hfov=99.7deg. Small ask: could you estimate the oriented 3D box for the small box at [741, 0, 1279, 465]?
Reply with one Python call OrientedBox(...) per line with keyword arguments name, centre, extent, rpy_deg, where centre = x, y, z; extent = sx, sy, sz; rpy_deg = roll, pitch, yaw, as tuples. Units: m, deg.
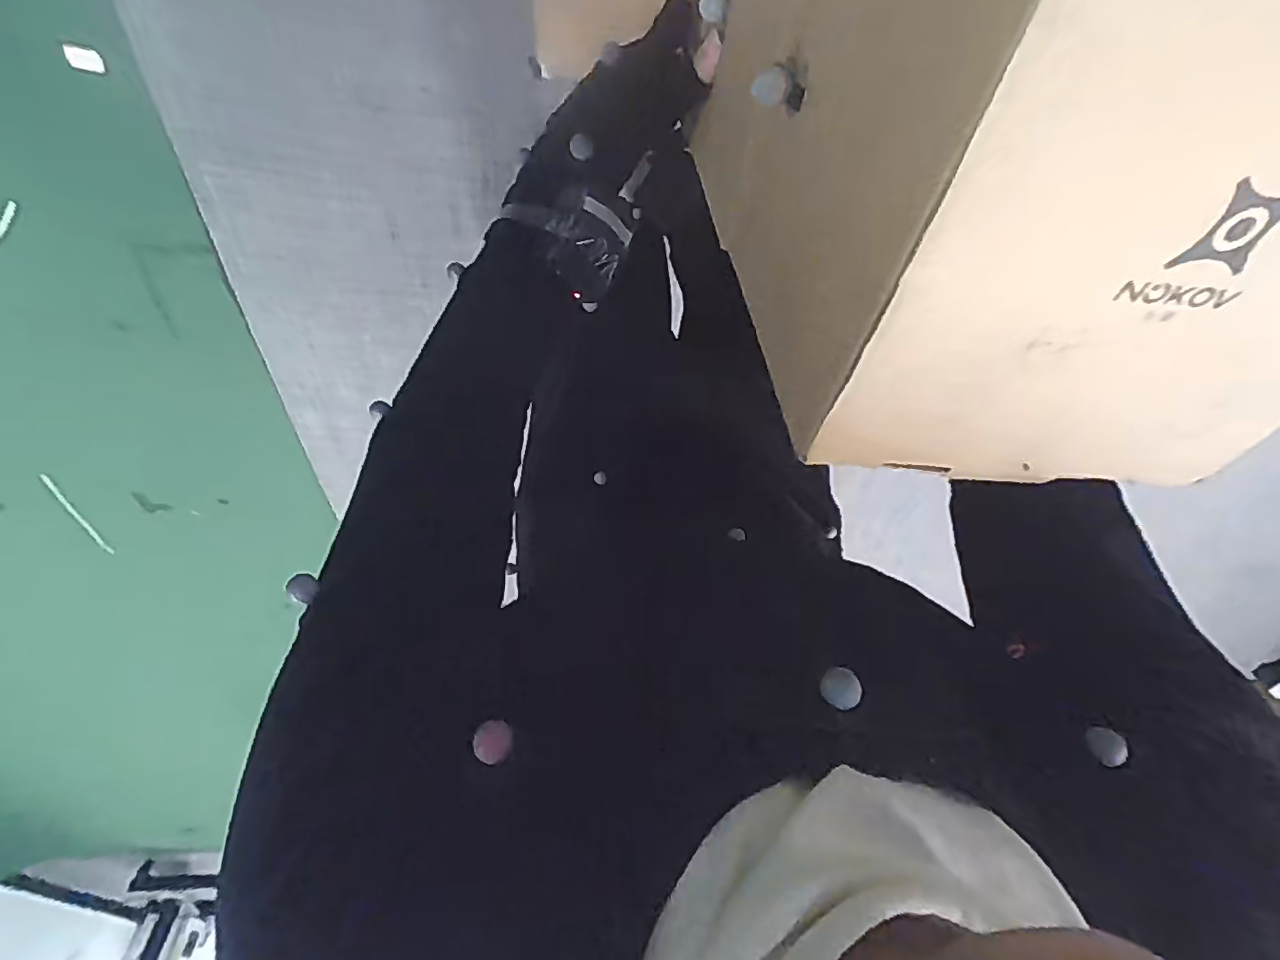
OrientedBox(name="small box", centre=(0.141, -0.127, 0.199), extent=(0.168, 0.176, 0.179), rpy_deg=(2, 140, -5))
